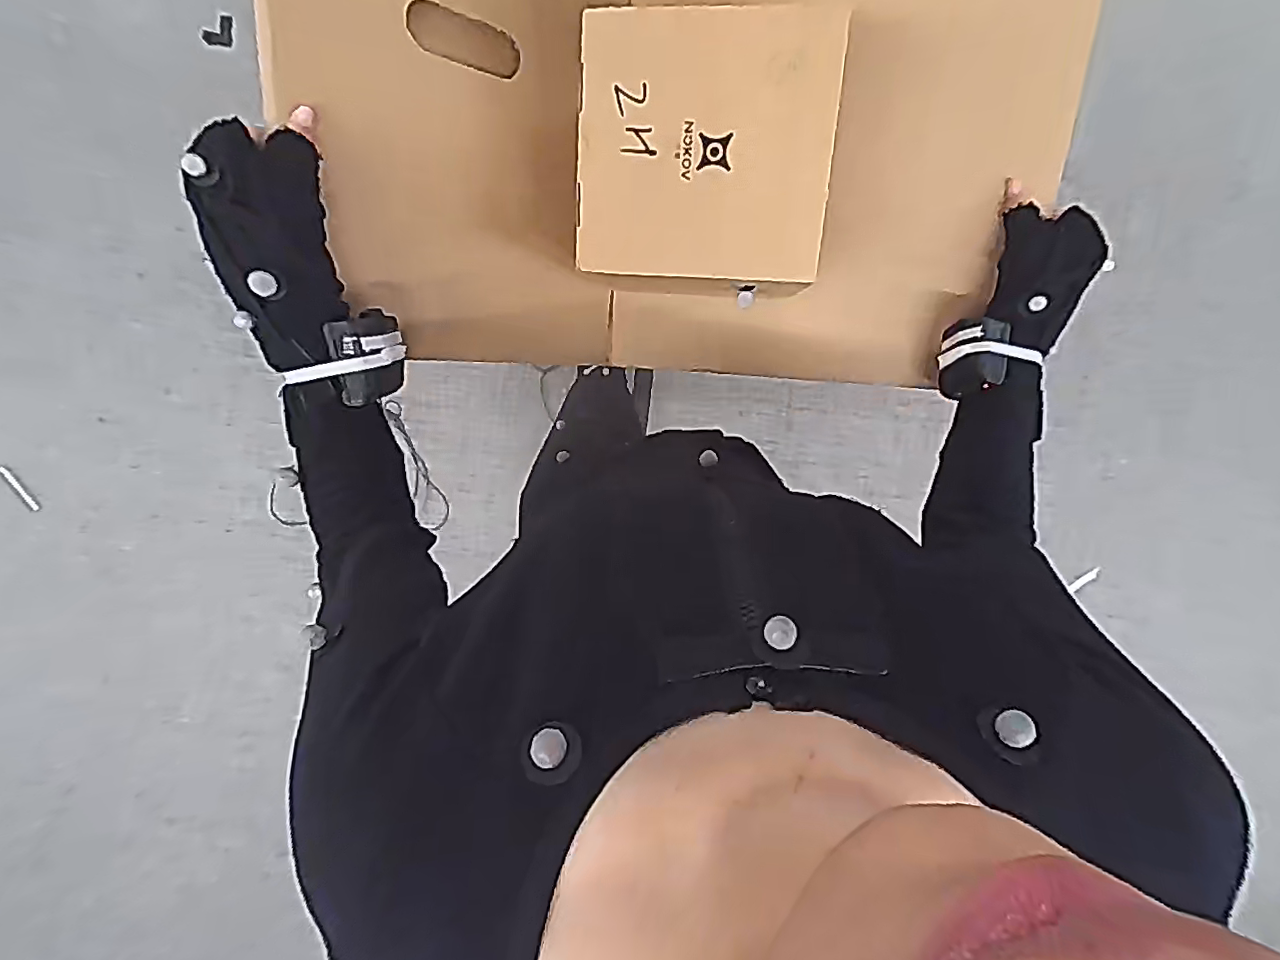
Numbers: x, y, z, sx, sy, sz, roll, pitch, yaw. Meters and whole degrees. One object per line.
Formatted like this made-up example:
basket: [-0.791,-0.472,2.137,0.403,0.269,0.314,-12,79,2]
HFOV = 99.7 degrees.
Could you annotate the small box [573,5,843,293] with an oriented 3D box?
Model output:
small box: [0.050,-0.253,0.454,0.179,0.176,0.168,6,105,6]
